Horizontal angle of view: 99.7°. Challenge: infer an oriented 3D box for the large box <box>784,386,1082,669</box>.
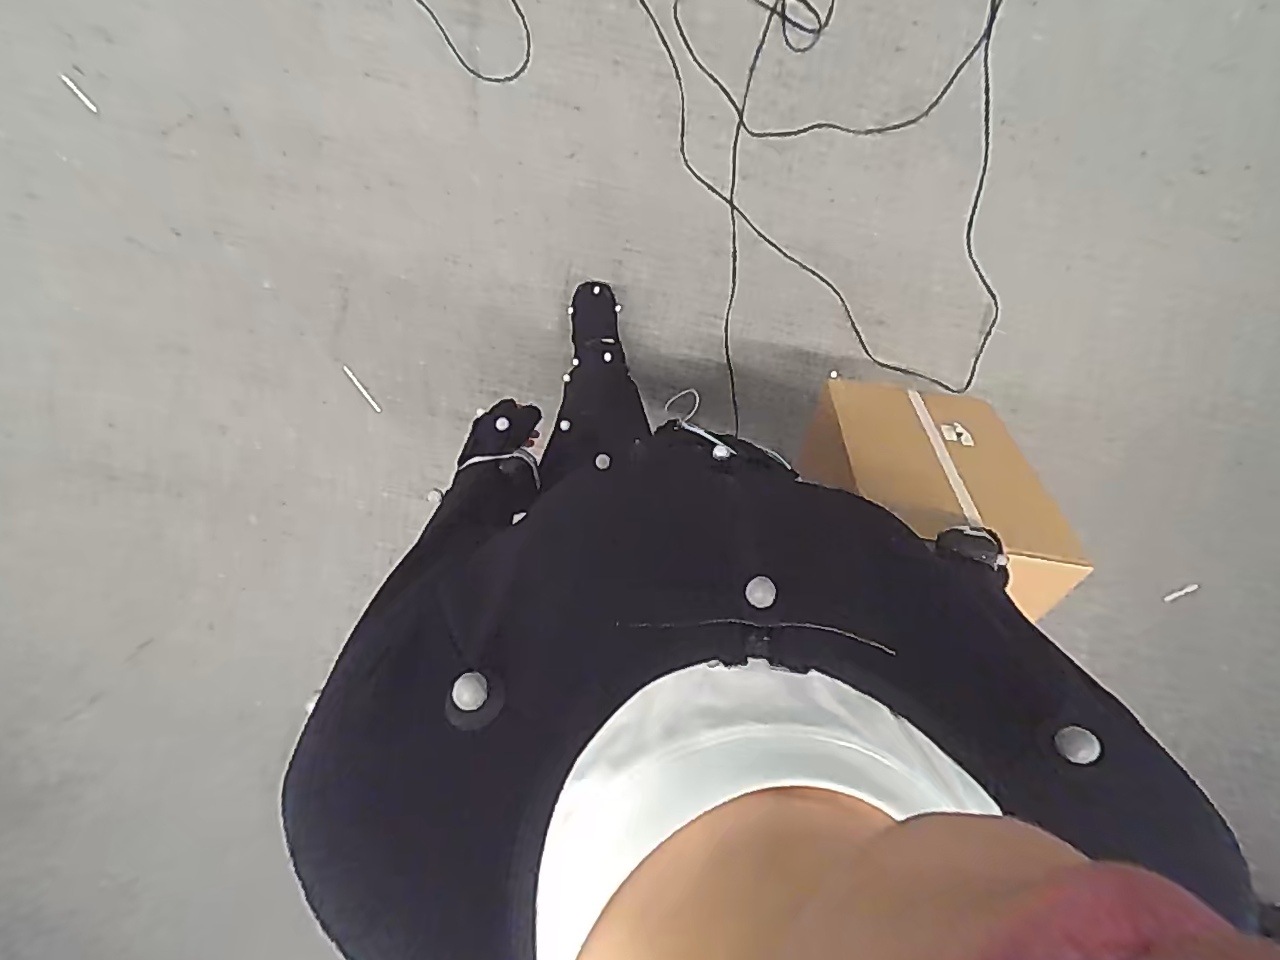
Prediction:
[{"bbox_3d":[0.471,0.079,0.995,0.320,0.408,0.320,9,131,0],"label":"large box"}]
